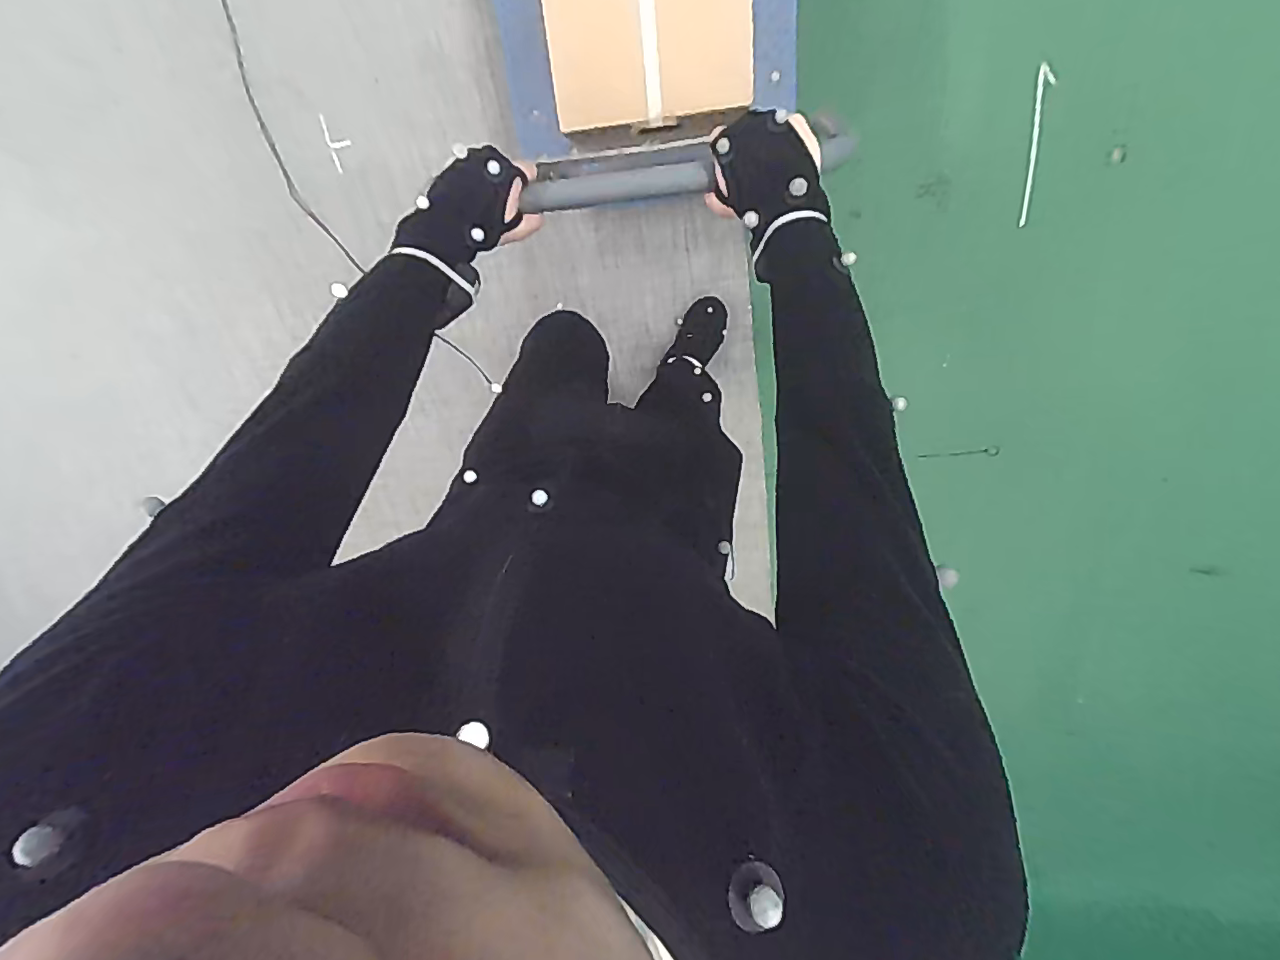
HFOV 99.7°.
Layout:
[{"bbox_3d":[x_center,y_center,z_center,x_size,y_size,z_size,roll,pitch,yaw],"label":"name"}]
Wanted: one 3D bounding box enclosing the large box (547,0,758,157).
[{"bbox_3d":[0.024,-0.817,0.920,0.320,0.320,0.408,-4,114,7],"label":"large box"}]
